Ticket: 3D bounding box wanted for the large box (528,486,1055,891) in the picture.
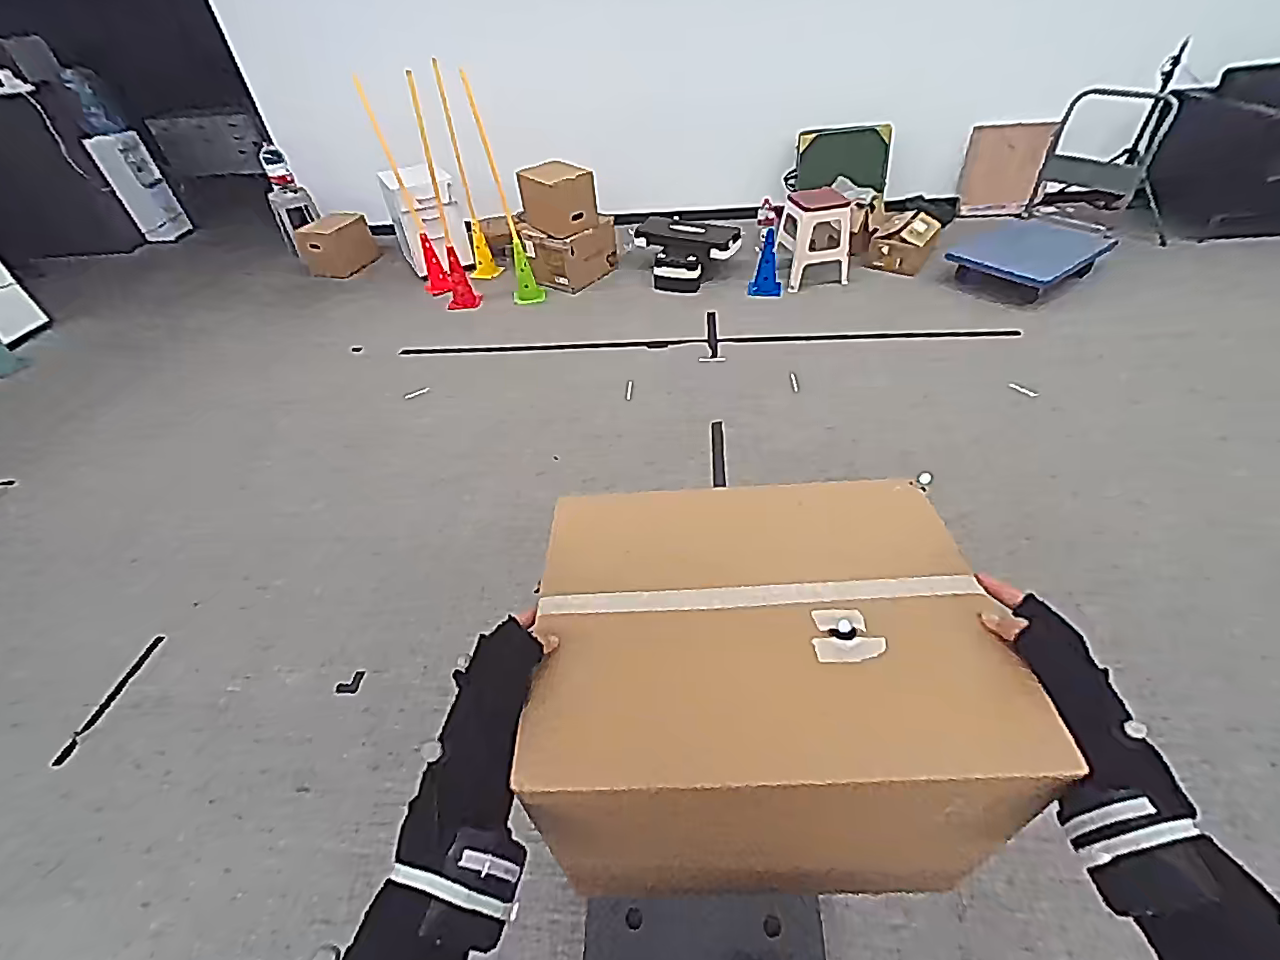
[{"bbox_3d":[0.117,0.230,0.610,0.408,0.320,0.320,-3,41,2],"label":"large box"}]
